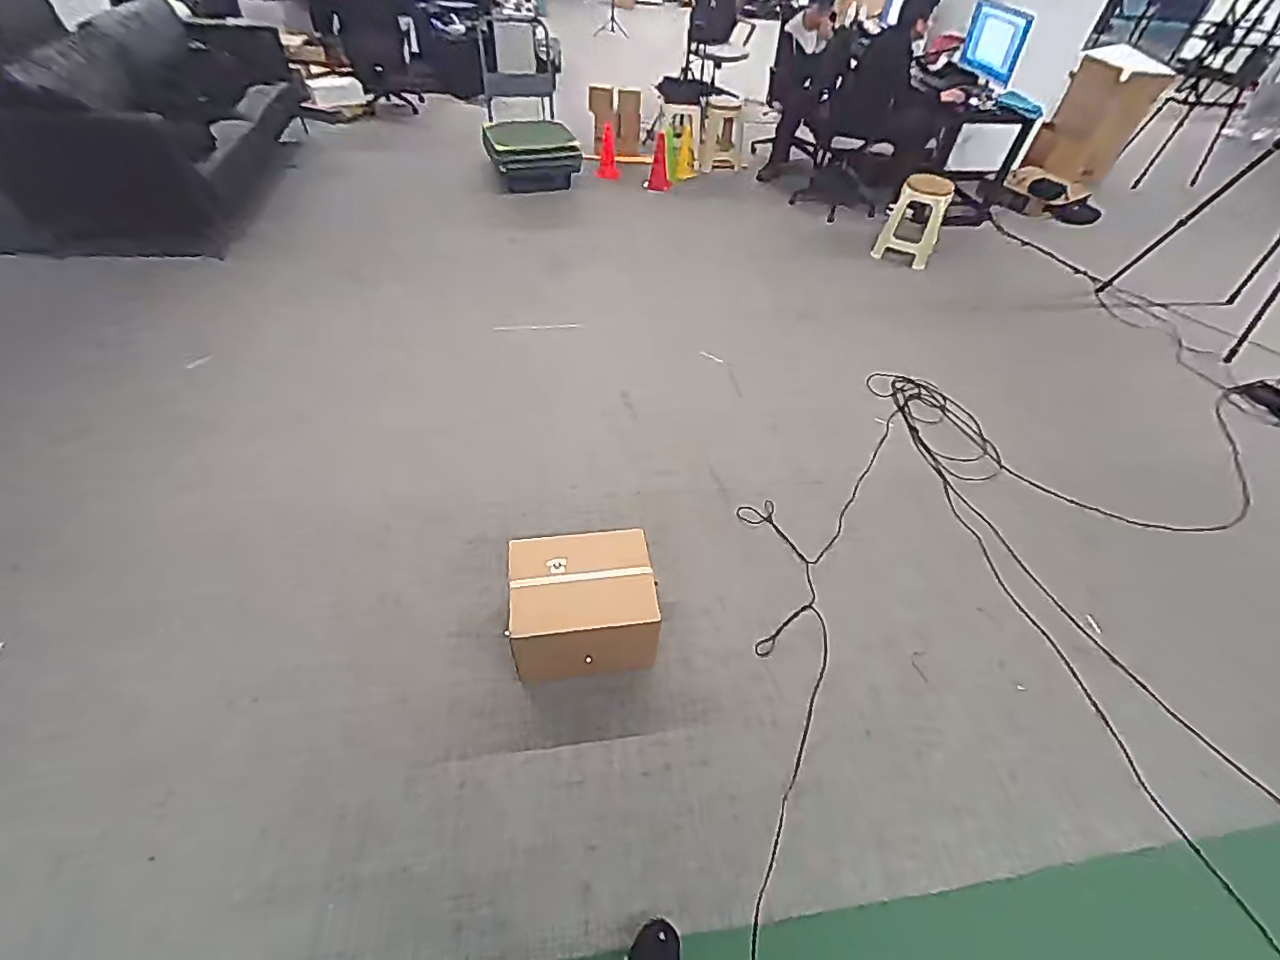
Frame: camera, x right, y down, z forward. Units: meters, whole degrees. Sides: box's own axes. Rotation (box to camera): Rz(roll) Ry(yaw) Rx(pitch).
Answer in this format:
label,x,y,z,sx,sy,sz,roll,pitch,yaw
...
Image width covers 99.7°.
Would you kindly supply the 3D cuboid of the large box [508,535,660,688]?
label,x,y,z,sx,sy,sz,roll,pitch,yaw
large box,-0.173,0.401,1.642,0.408,0.320,0.320,-6,48,-9
